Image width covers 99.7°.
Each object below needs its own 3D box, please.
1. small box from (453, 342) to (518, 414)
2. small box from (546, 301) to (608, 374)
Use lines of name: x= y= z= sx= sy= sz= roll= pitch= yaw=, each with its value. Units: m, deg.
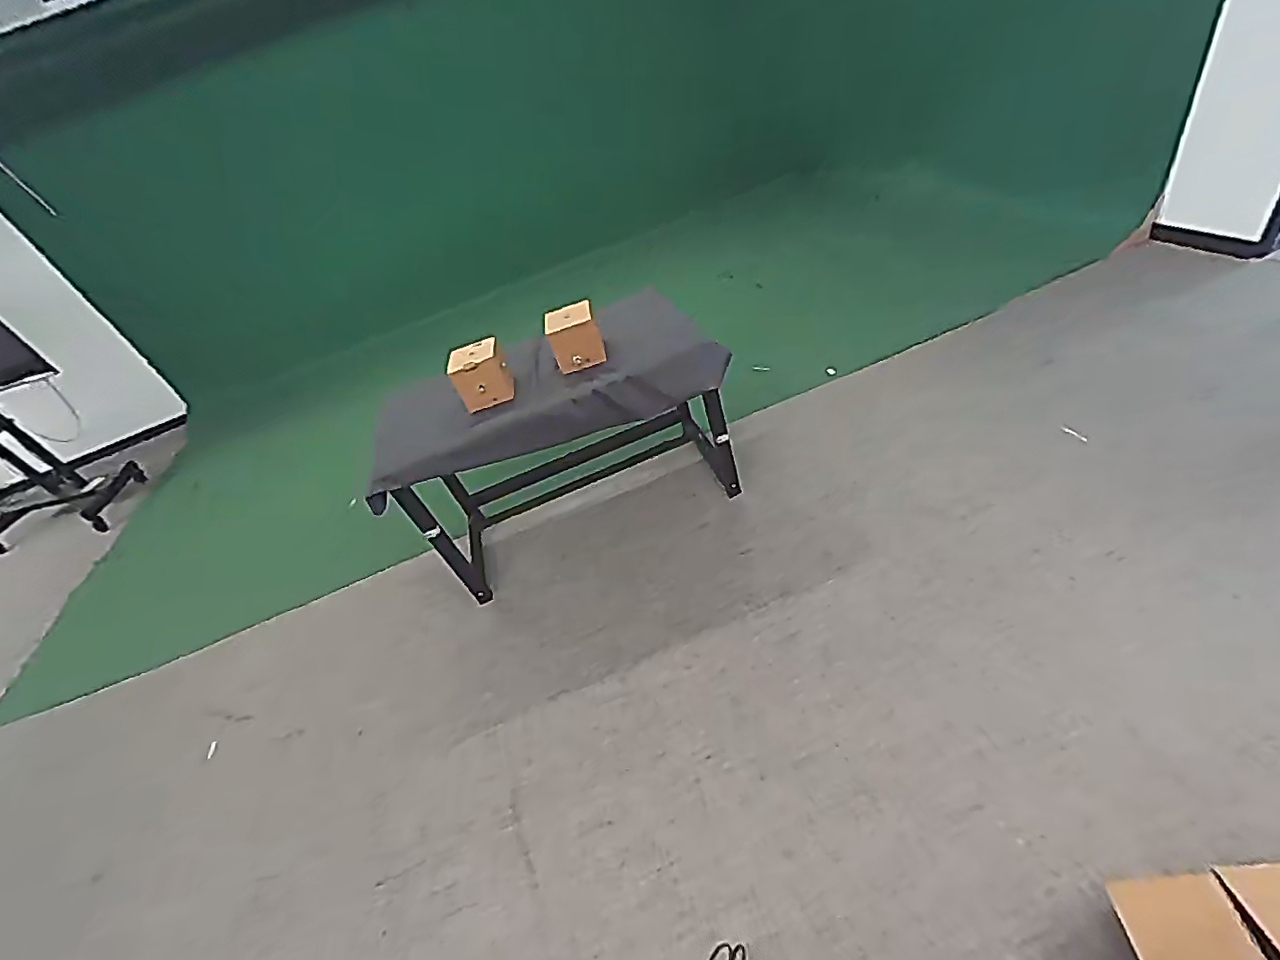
small box: x=-0.541 y=-0.353 z=1.912 sx=0.168 sy=0.176 sz=0.179 roll=-22 pitch=38 yaw=1
small box: x=-0.221 y=-0.504 z=1.916 sx=0.168 sy=0.176 sz=0.179 roll=-18 pitch=39 yaw=7
